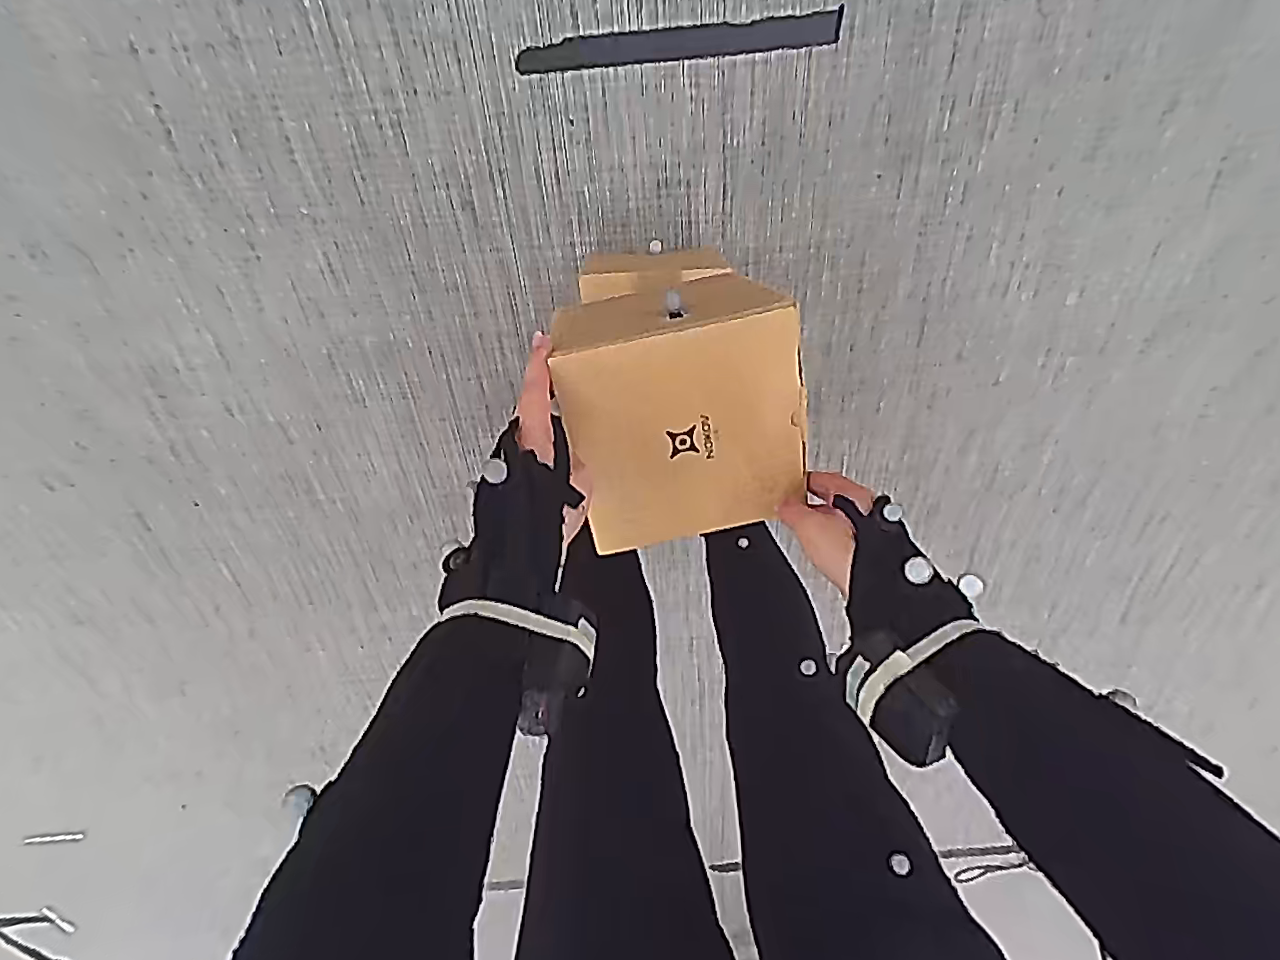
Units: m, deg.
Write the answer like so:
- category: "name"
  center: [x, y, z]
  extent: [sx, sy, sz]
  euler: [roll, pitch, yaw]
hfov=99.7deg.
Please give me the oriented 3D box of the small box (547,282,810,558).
- category: "small box"
  center: [0.028, -0.061, 0.464]
  extent: [0.179, 0.176, 0.168]
  euler: [-13, 118, -1]

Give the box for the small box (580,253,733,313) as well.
- category: "small box"
  center: [0.017, -0.179, 0.680]
  extent: [0.168, 0.176, 0.179]
  euler: [-3, 119, -1]
